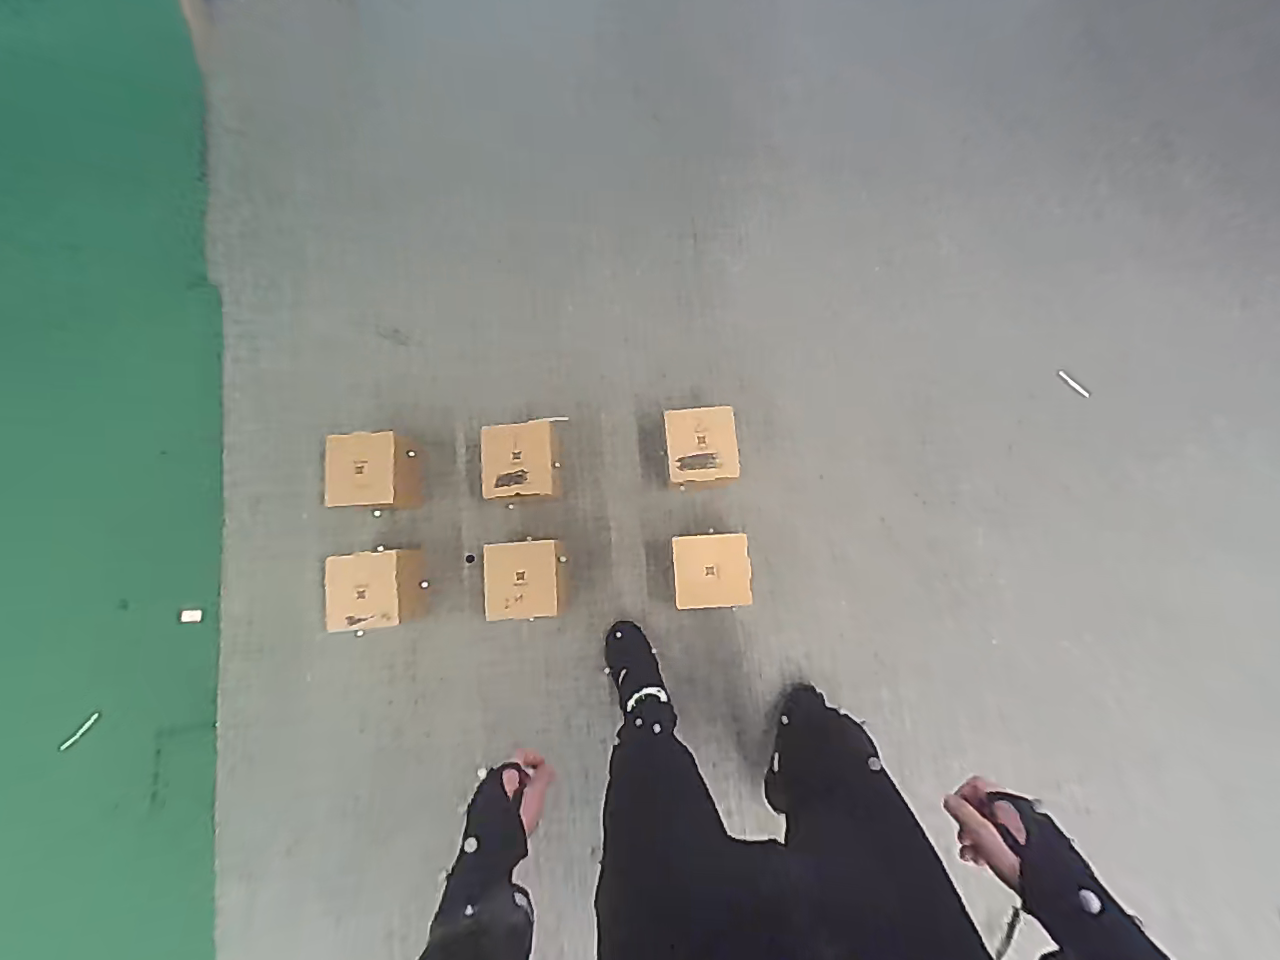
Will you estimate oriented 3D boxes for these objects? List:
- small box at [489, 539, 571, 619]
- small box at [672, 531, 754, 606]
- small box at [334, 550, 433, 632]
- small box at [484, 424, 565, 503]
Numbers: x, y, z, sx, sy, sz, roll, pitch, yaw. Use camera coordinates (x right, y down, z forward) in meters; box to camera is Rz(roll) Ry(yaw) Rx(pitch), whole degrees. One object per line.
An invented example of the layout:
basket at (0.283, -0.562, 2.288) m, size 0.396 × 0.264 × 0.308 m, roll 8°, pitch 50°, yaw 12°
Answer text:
small box at (-0.264, 0.240, 1.321) m, size 0.168 × 0.176 × 0.179 m, roll -5°, pitch 82°, yaw 1°
small box at (0.169, 0.215, 1.316) m, size 0.179 × 0.176 × 0.168 m, roll -4°, pitch 82°, yaw 0°
small box at (-0.621, 0.269, 1.325) m, size 0.168 × 0.176 × 0.179 m, roll -6°, pitch 81°, yaw 1°
small box at (-0.285, -0.034, 1.359) m, size 0.168 × 0.176 × 0.179 m, roll -4°, pitch 82°, yaw 0°
